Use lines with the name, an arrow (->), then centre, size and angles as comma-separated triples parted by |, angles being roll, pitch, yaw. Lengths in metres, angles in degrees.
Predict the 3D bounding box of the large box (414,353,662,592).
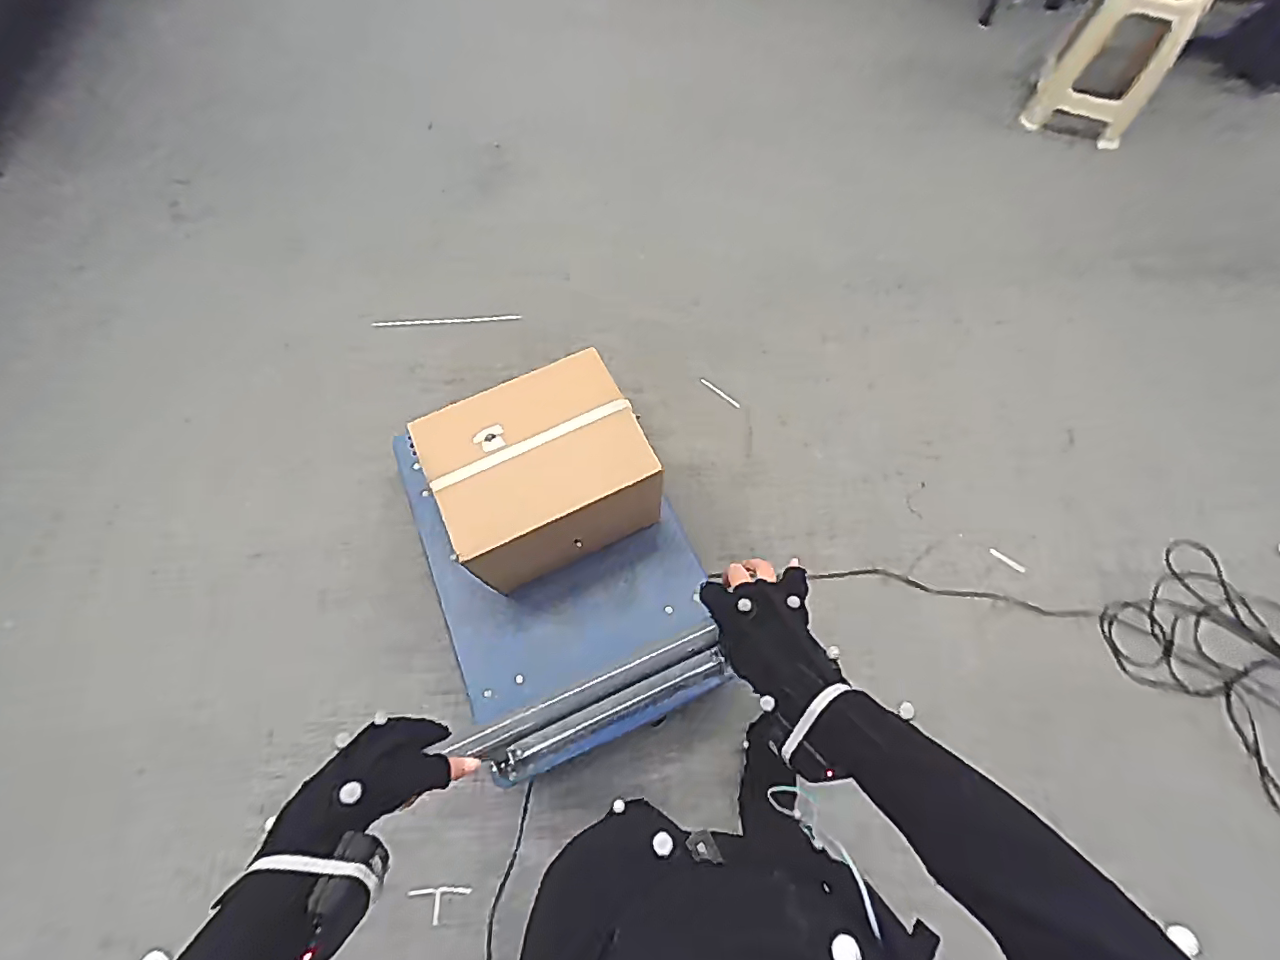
large box -> -0.197, -0.002, 1.176 | 0.408, 0.320, 0.320 | -26, 69, -8
